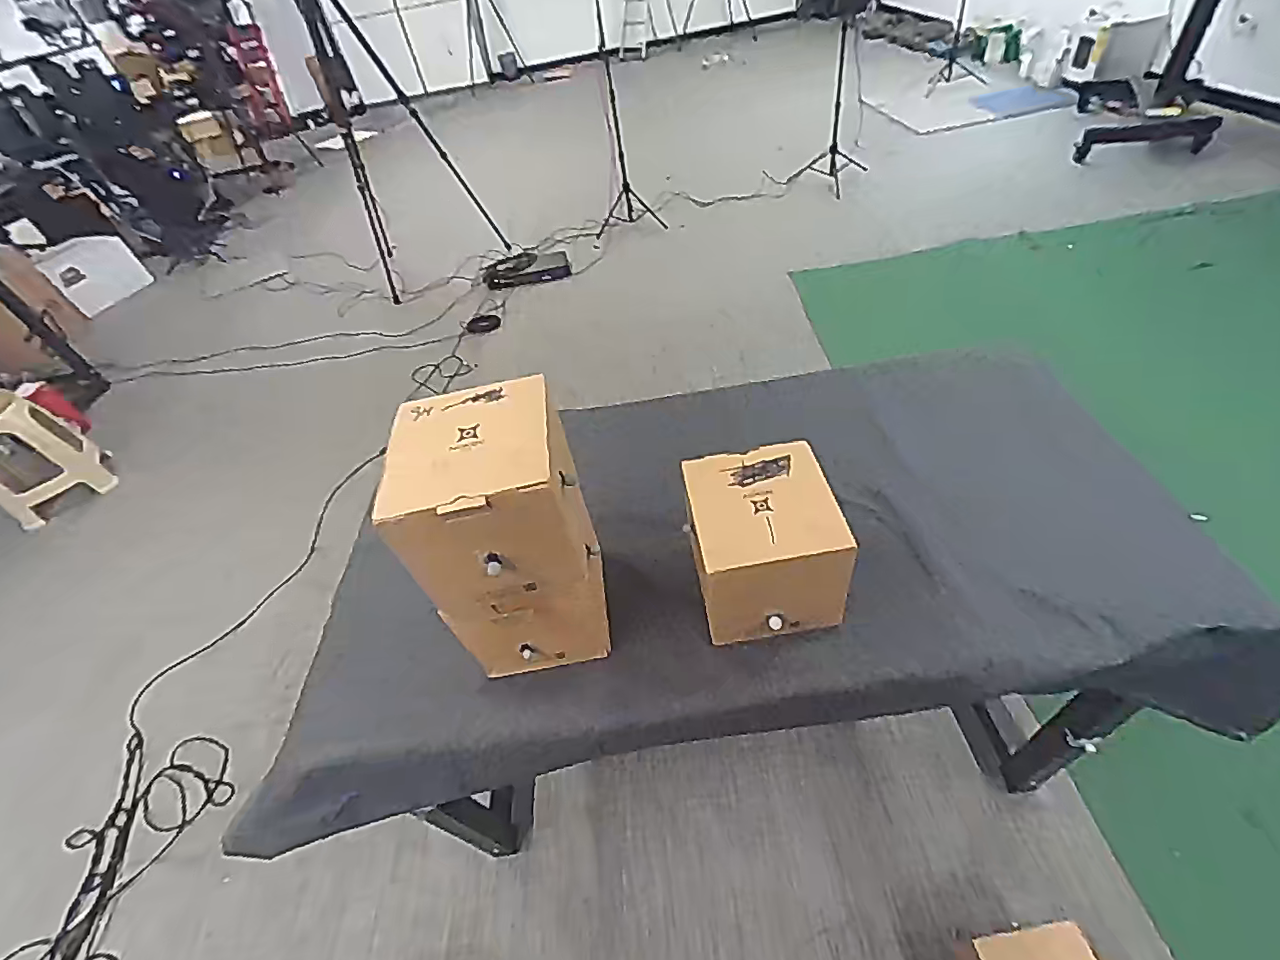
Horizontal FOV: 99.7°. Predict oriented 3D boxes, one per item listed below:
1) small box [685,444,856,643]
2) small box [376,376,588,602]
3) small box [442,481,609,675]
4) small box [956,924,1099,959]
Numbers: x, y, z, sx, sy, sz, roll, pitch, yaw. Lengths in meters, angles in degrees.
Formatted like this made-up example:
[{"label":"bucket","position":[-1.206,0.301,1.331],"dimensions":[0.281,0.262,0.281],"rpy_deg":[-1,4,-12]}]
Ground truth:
[{"label":"small box","position":[0.155,0.082,0.694],"dimensions":[0.168,0.176,0.179],"rpy_deg":[-10,45,2]},{"label":"small box","position":[-0.158,0.017,0.596],"dimensions":[0.168,0.176,0.179],"rpy_deg":[-12,46,-1]},{"label":"small box","position":[-0.140,0.129,0.714],"dimensions":[0.168,0.176,0.179],"rpy_deg":[-11,45,0]},{"label":"small box","position":[0.651,0.847,0.876],"dimensions":[0.179,0.176,0.168],"rpy_deg":[-13,44,0]}]
